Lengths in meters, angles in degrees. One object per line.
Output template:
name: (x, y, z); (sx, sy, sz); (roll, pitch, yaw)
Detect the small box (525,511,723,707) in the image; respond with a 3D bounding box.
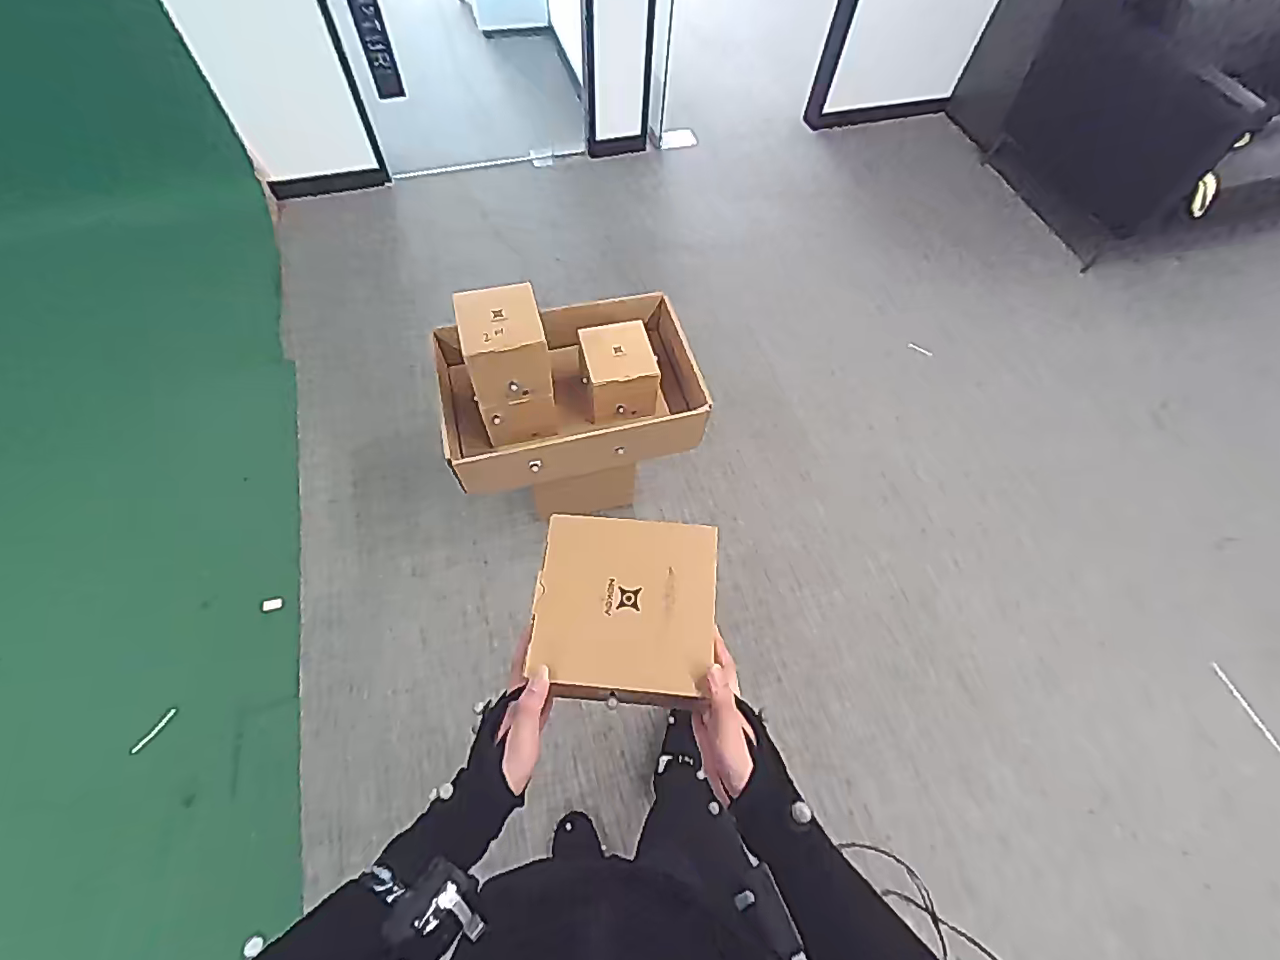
small box: (-0.009, 0.147, 0.587); (0.179, 0.176, 0.168); (5, 63, 3)

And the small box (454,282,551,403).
small box: (-0.291, -0.292, 1.159); (0.168, 0.176, 0.179); (-12, 63, -11)
